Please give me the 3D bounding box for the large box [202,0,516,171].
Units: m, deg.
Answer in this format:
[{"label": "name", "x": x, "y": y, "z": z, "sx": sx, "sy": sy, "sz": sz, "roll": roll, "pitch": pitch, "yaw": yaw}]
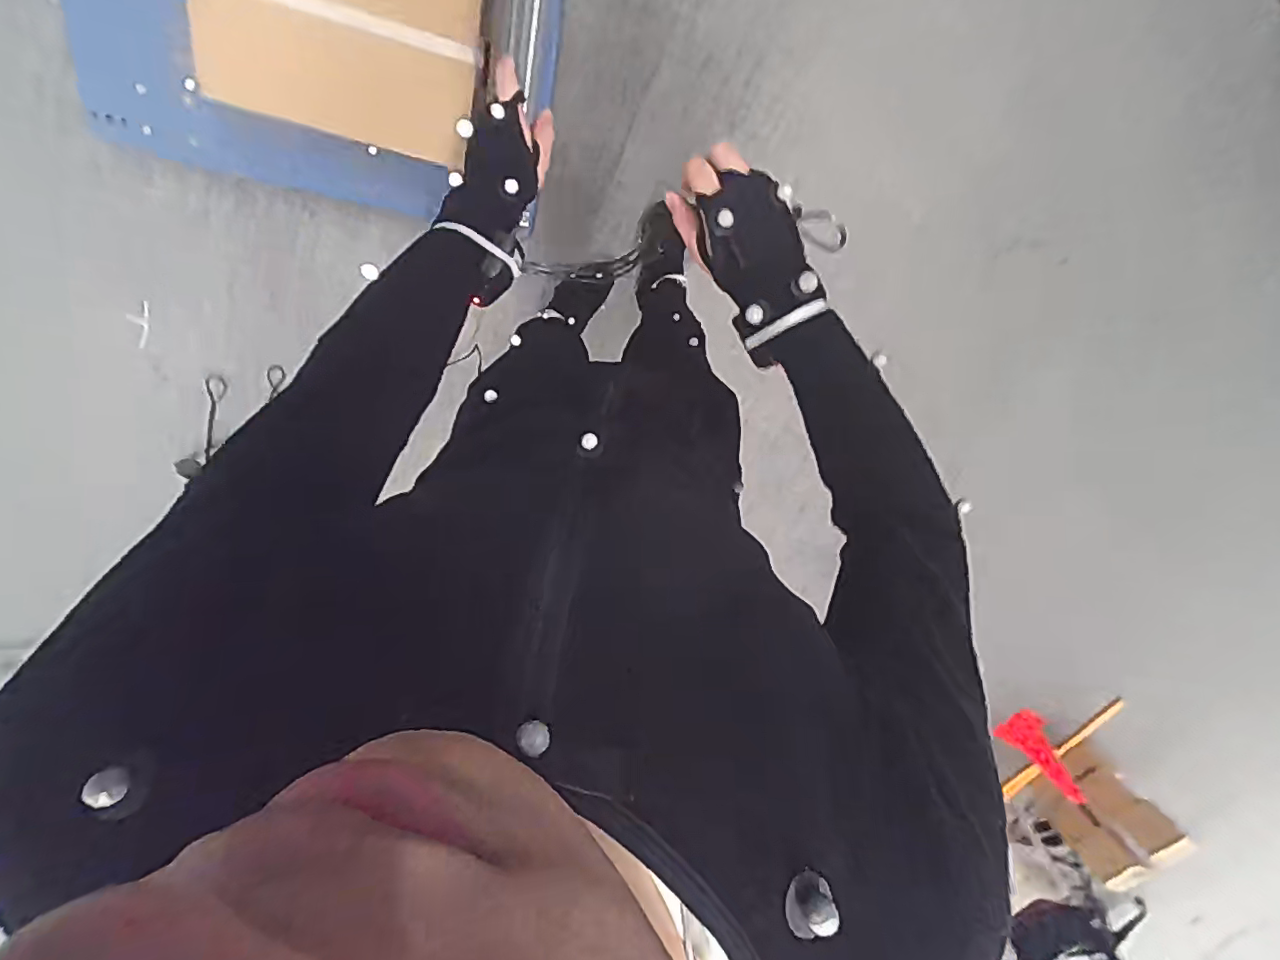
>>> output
[{"label": "large box", "x": -0.451, "y": -0.763, "z": 0.944, "sx": 0.408, "sy": 0.320, "sz": 0.320, "roll": 11, "pitch": 116, "yaw": -12}]
